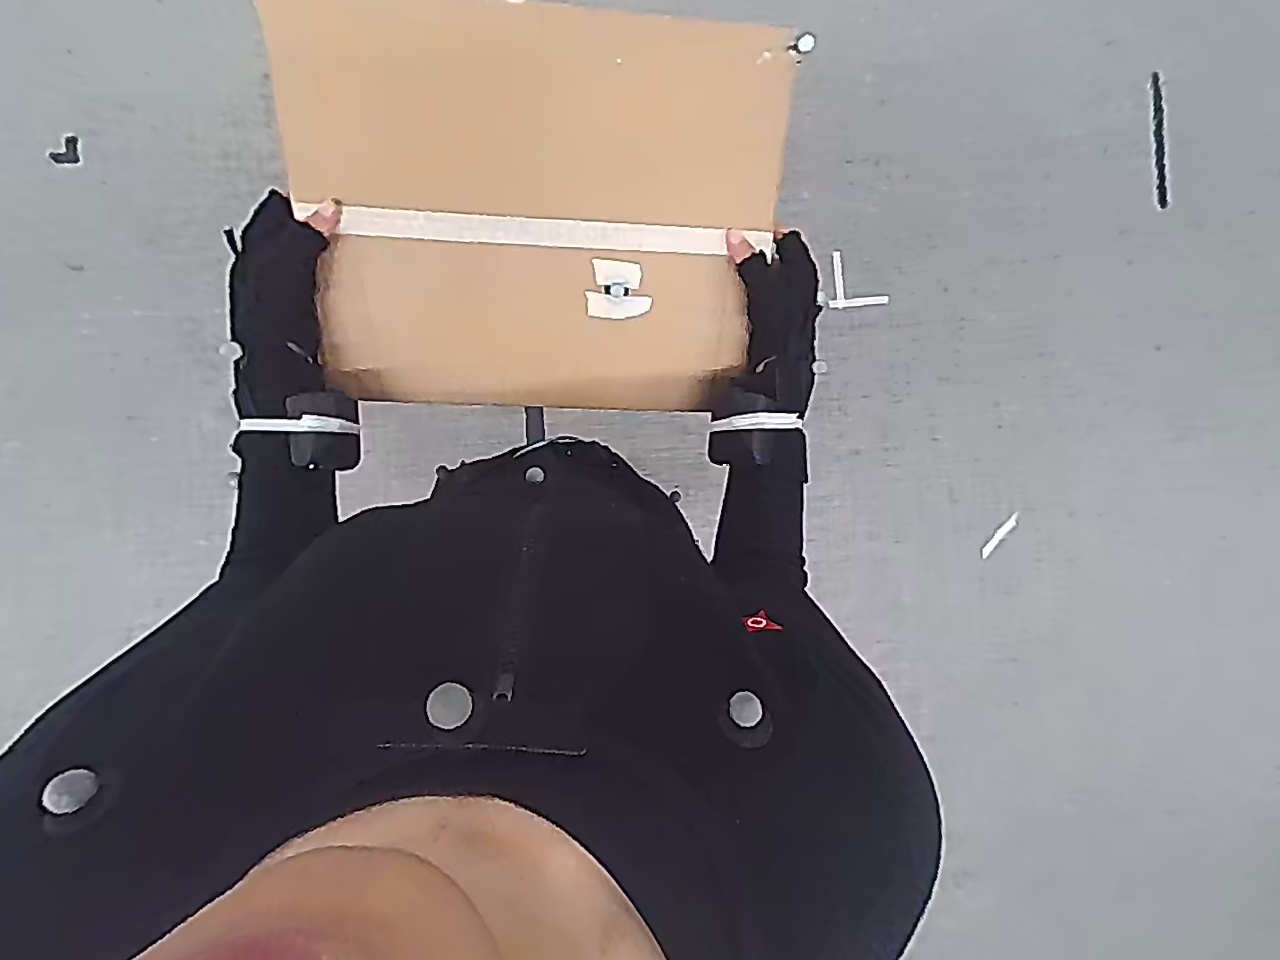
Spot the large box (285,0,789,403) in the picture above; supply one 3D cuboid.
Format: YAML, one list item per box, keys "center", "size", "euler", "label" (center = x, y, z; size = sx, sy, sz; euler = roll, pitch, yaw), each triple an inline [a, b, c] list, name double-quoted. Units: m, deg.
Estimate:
- center: [-0.094, -0.280, 0.620]
  size: [0.408, 0.320, 0.320]
  euler: [1, 114, -6]
  label: "large box"
